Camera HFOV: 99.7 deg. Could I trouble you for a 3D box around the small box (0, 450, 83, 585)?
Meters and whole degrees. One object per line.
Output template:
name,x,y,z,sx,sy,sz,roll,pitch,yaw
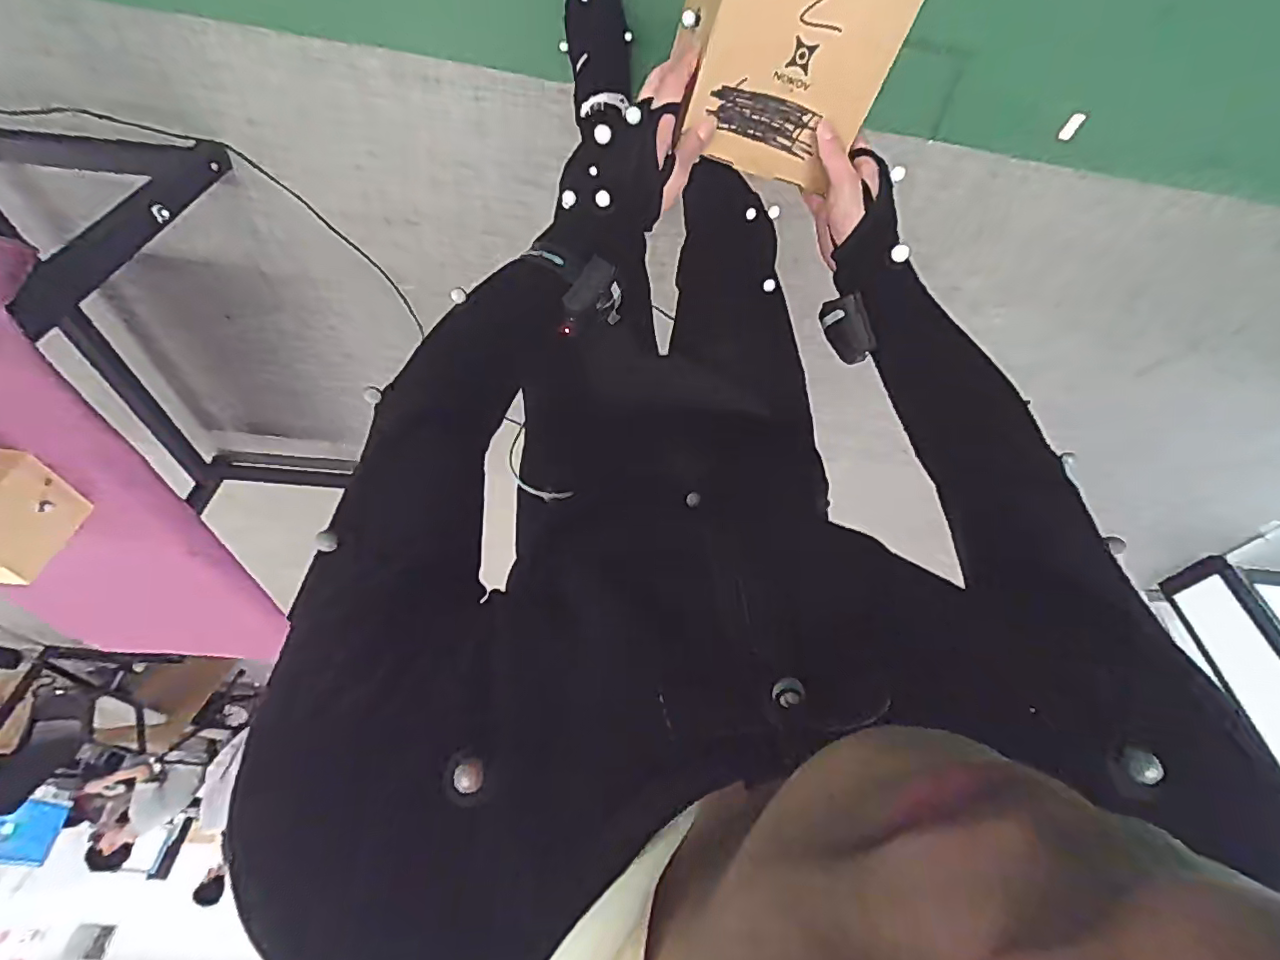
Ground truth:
small box,-1.115,0.054,0.898,0.179,0.176,0.168,6,142,-4
